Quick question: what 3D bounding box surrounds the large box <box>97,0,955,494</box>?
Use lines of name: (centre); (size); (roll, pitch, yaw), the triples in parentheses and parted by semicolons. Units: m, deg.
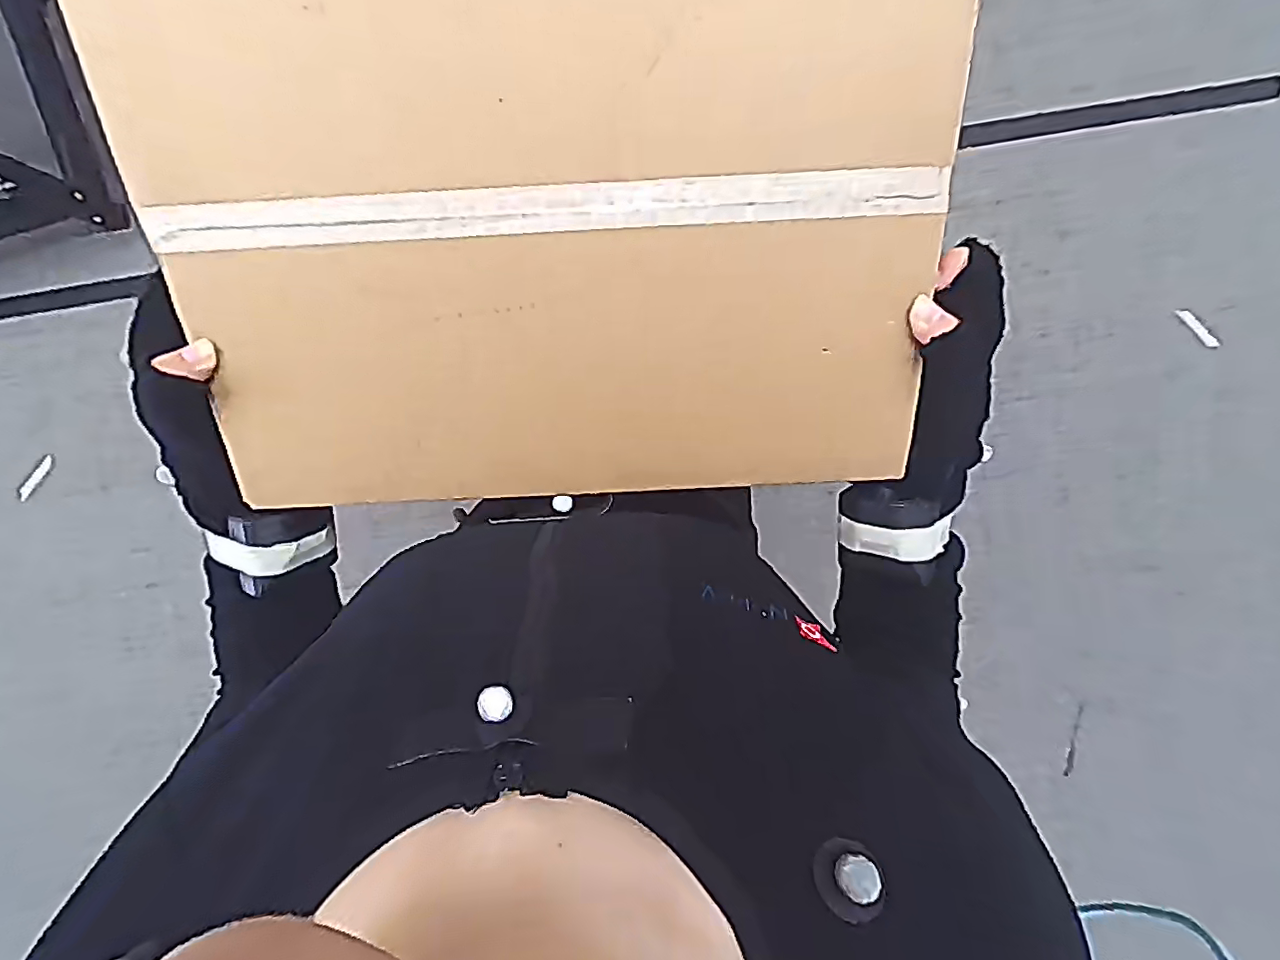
large box: (-0.052, -0.200, 0.421); (0.408, 0.320, 0.320); (-3, 114, 0)
